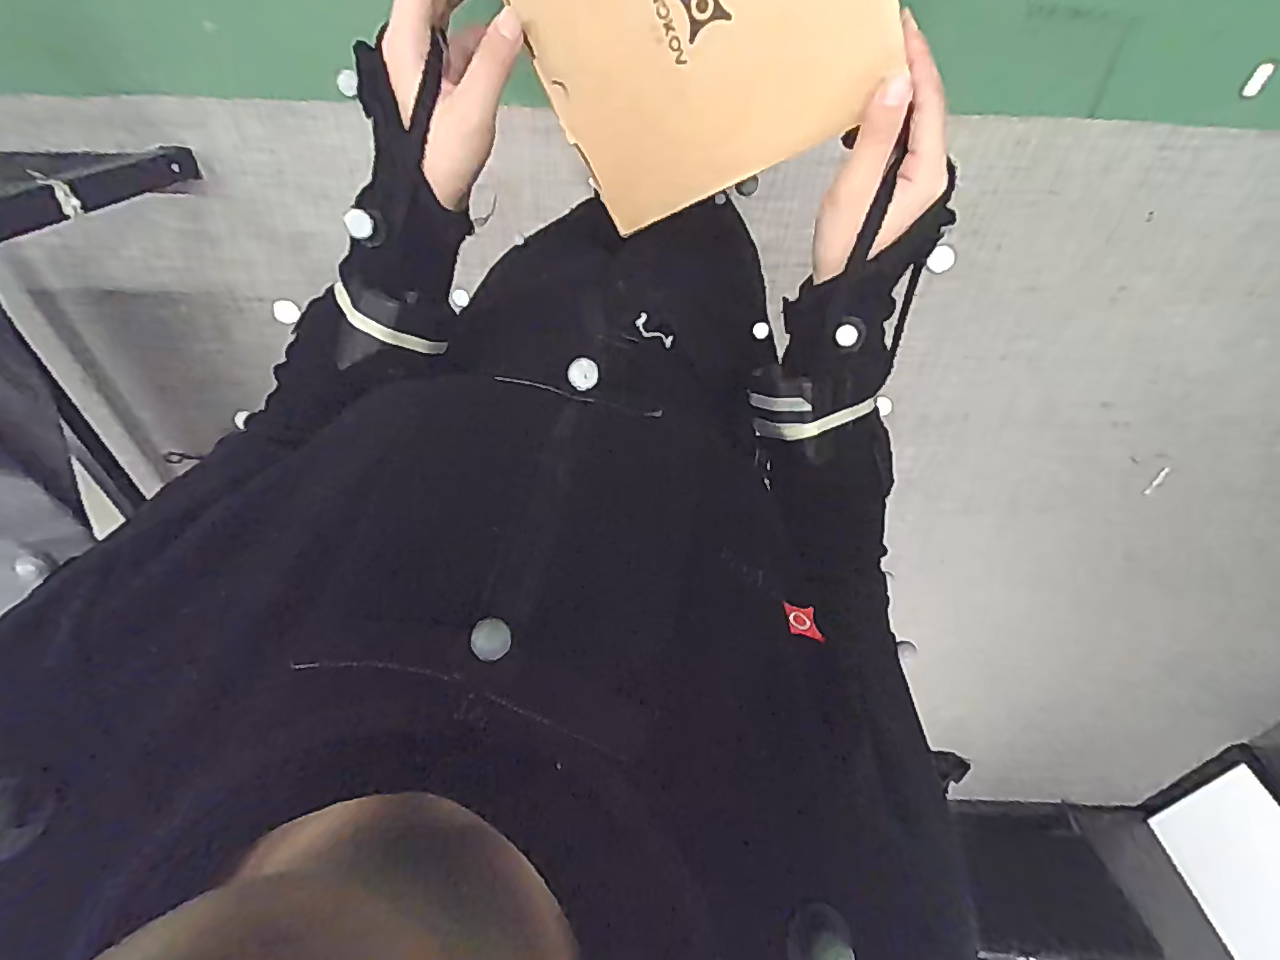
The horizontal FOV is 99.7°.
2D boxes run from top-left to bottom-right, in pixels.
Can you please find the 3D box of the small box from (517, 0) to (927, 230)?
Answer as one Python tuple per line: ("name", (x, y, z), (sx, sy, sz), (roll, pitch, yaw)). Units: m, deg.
("small box", (0.048, -0.288, 0.318), (0.179, 0.176, 0.168), (-13, 128, 27))
